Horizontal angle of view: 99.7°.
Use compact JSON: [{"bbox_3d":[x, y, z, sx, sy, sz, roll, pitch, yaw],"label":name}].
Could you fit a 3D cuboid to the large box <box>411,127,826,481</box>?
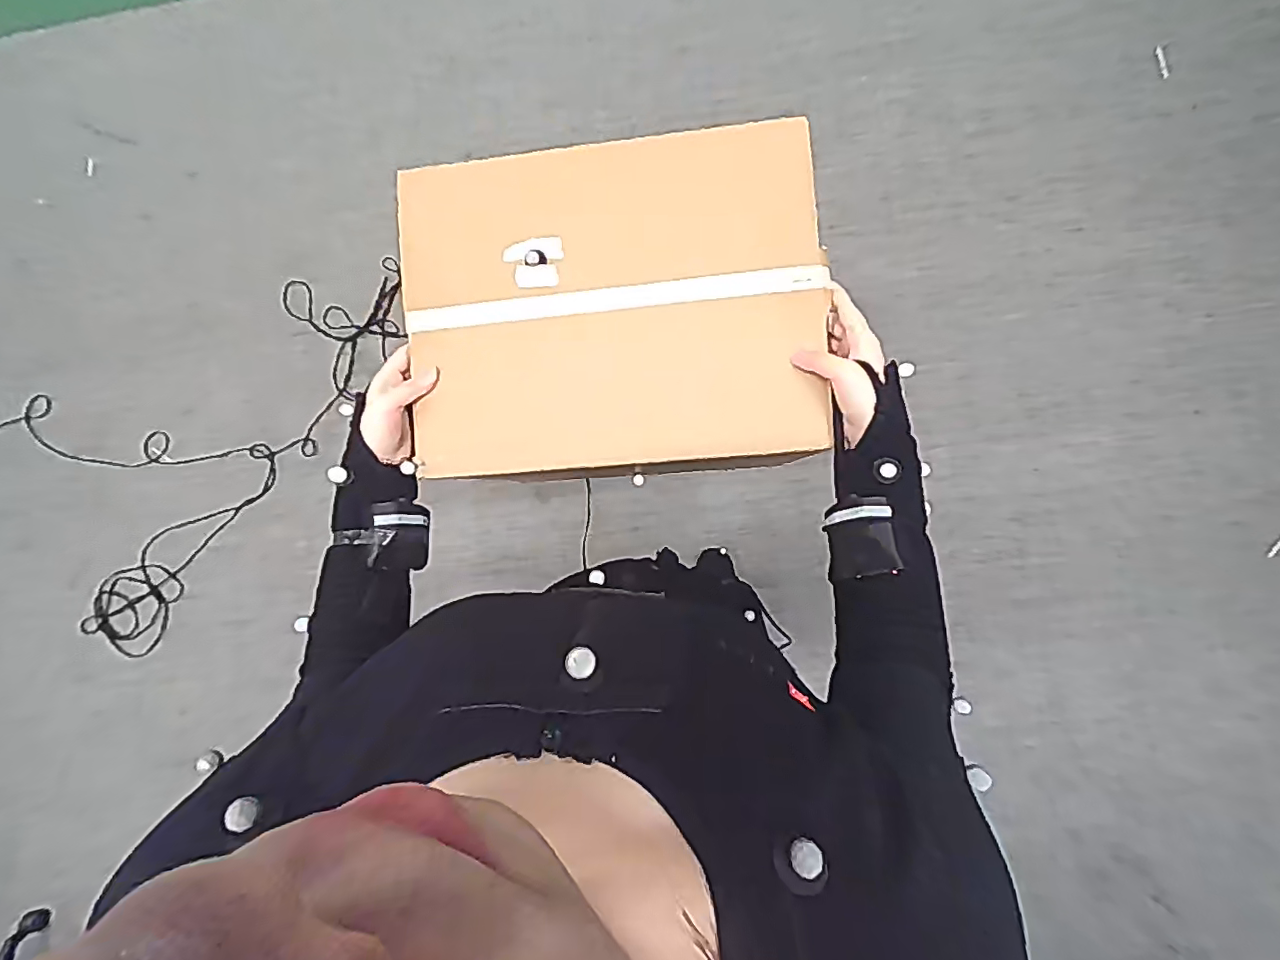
[{"bbox_3d":[-0.012,-0.169,0.683,0.408,0.320,0.320,-4,88,7],"label":"large box"}]
